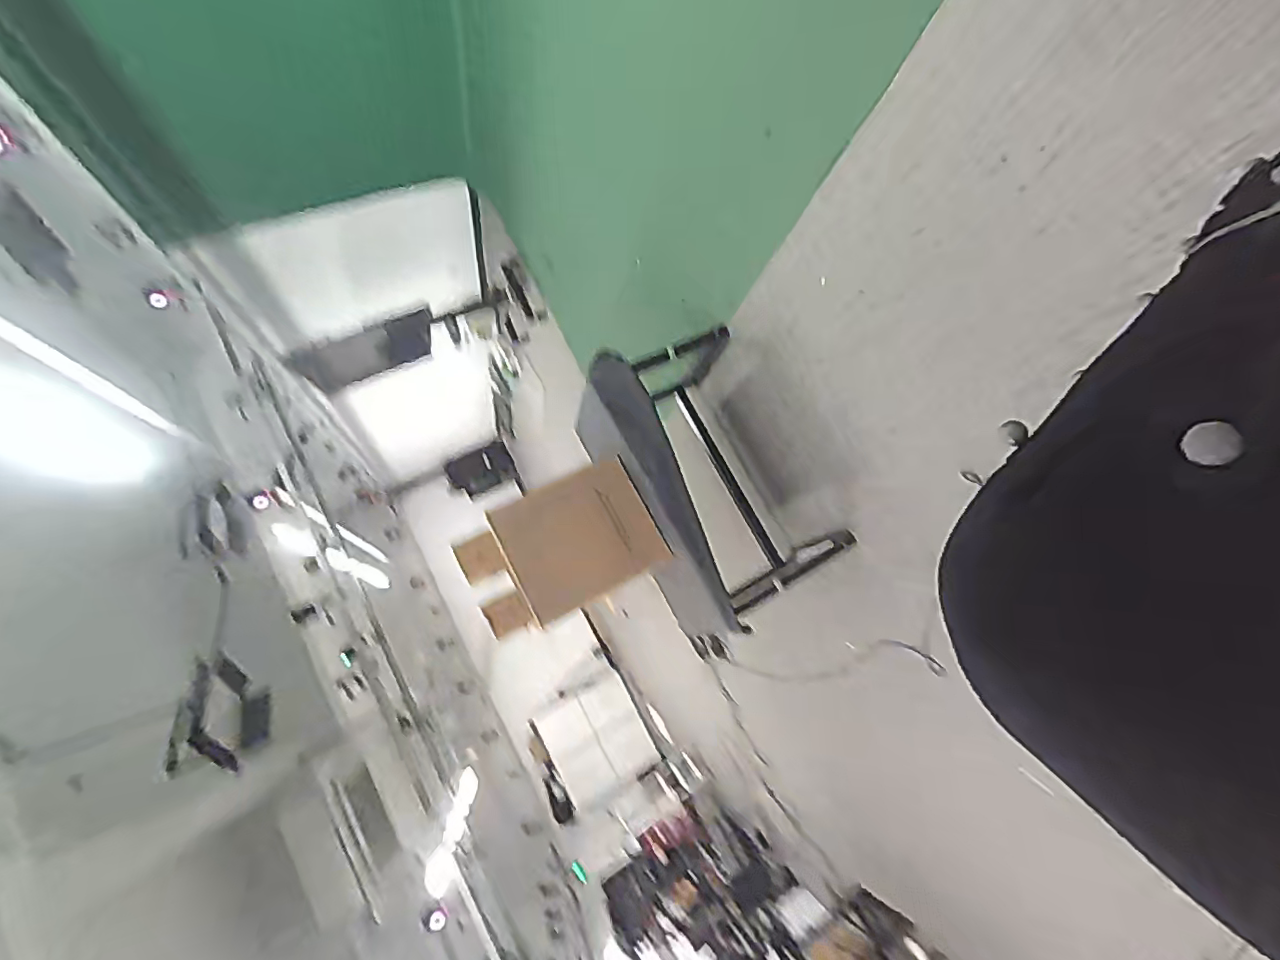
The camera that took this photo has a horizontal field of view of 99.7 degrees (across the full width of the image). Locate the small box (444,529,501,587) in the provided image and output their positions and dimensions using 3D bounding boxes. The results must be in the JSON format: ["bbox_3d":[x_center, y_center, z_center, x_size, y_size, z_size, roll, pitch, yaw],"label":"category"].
[{"bbox_3d":[-0.693,0.321,2.250,0.179,0.176,0.168,59,158,12],"label":"small box"}]

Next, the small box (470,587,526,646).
[{"bbox_3d":[-0.575,0.552,2.193,0.168,0.176,0.179,60,158,11],"label":"small box"}]
